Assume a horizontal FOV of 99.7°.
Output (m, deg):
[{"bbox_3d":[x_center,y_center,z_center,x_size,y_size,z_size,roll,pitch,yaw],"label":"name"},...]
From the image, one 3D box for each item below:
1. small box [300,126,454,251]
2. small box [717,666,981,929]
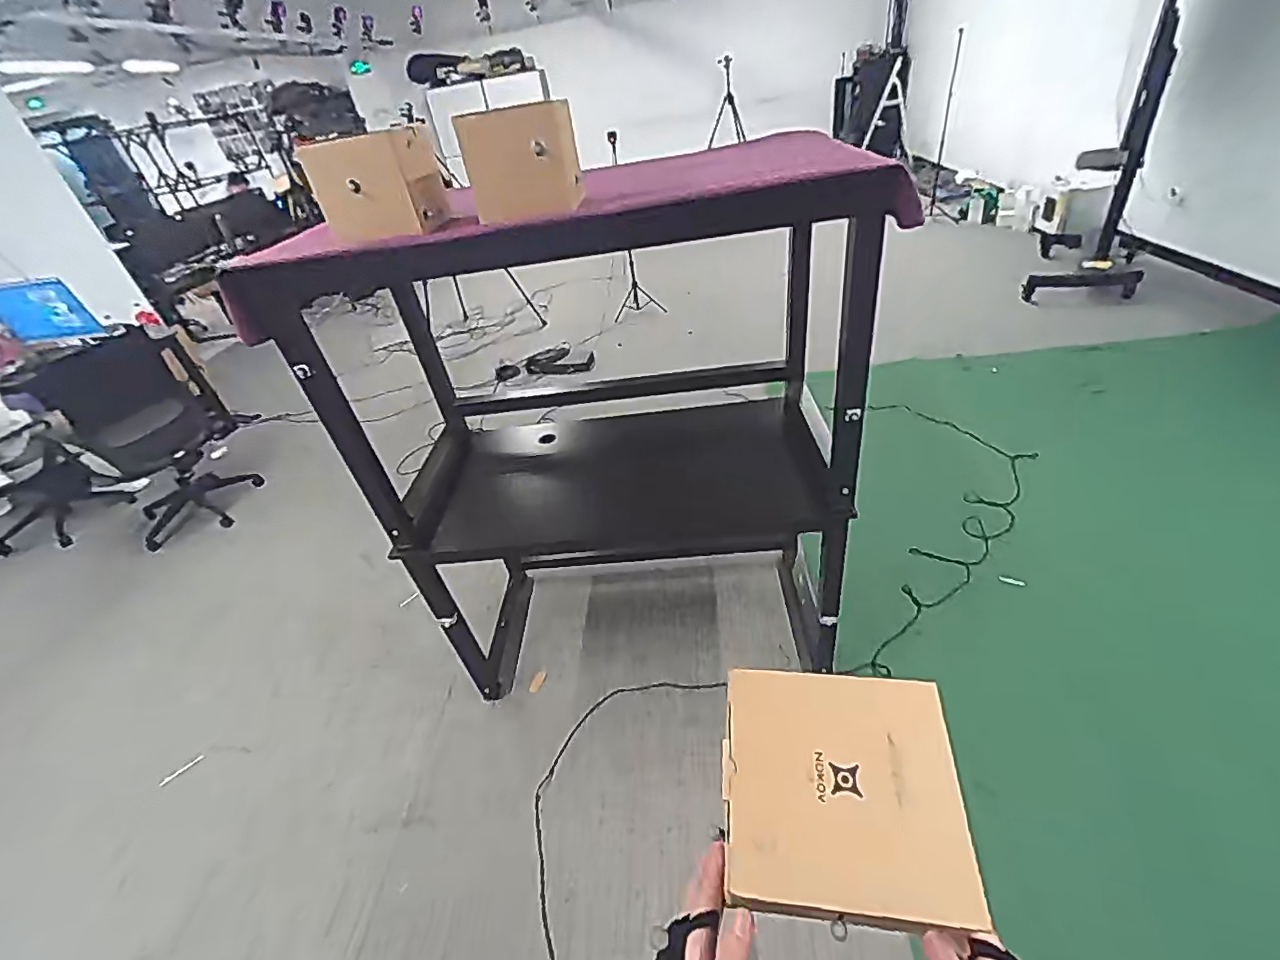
[{"bbox_3d":[-0.477,-0.546,1.015,0.179,0.176,0.168,-5,36,8],"label":"small box"},{"bbox_3d":[0.162,0.282,0.481,0.179,0.176,0.168,1,51,10],"label":"small box"}]
